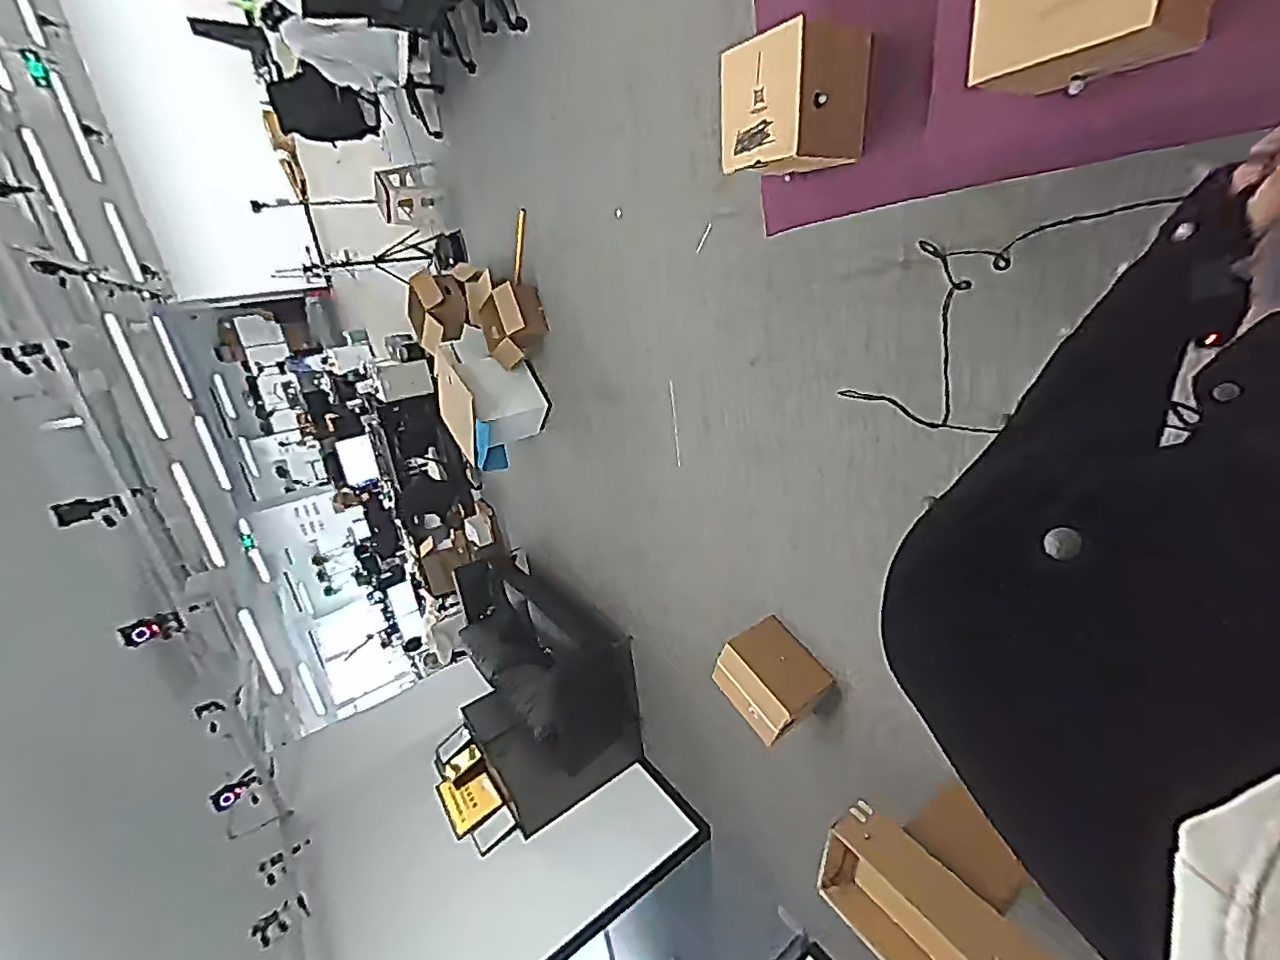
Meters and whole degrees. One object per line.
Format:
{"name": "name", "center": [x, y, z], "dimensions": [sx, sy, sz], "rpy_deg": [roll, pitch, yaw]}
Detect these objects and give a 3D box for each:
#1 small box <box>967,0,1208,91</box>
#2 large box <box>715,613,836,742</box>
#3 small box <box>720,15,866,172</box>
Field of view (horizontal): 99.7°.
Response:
{"name": "small box", "center": [0.483, -0.544, 0.573], "dimensions": [0.168, 0.176, 0.179], "rpy_deg": [23, 125, 52]}
{"name": "large box", "center": [0.620, 0.907, 2.524], "dimensions": [0.408, 0.320, 0.320], "rpy_deg": [44, 142, 34]}
{"name": "small box", "center": [0.250, -0.618, 0.890], "dimensions": [0.168, 0.176, 0.179], "rpy_deg": [24, 126, 49]}
